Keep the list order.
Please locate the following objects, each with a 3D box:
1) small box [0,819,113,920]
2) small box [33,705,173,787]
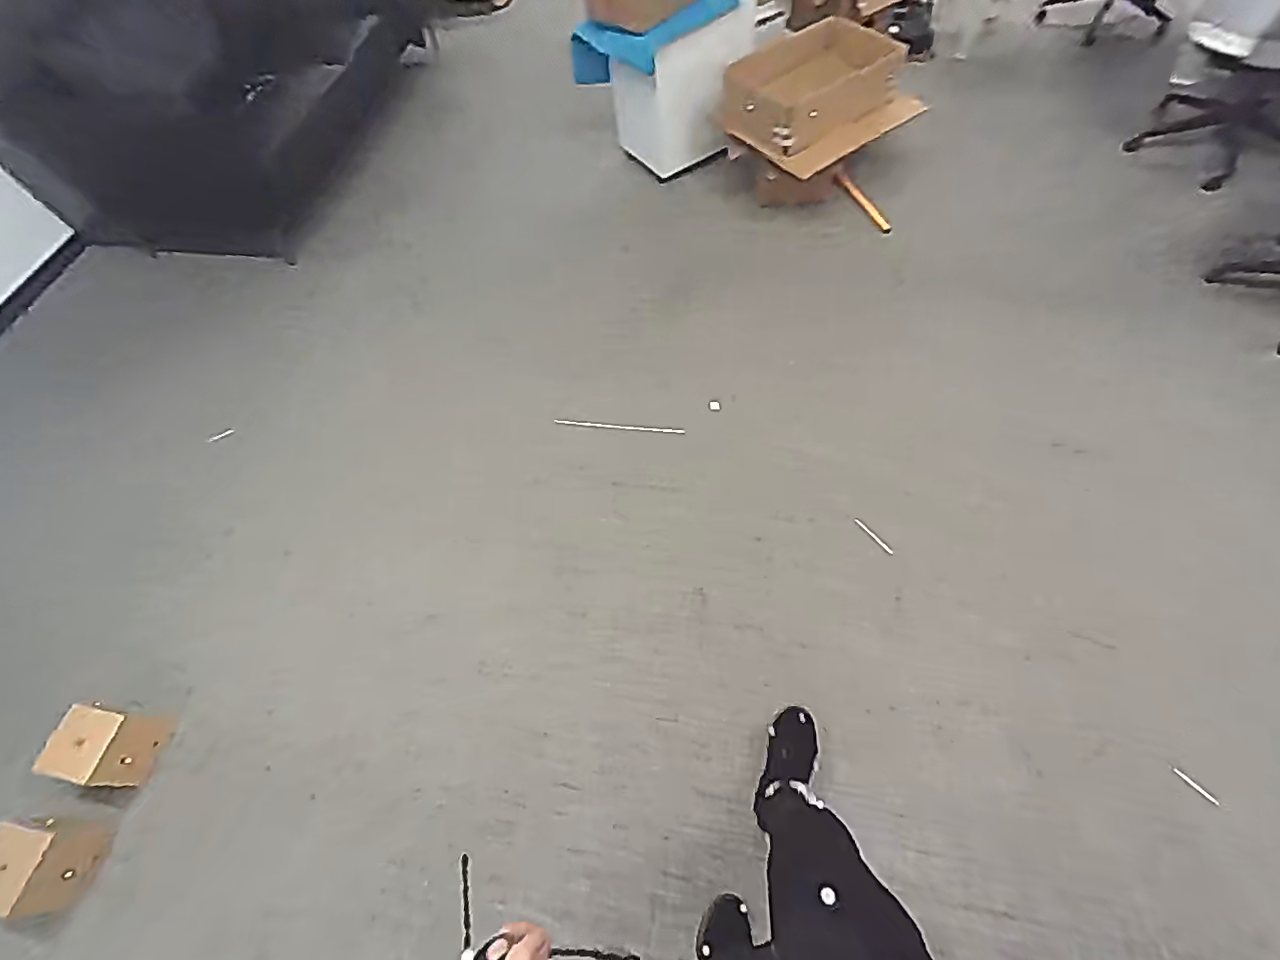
[{"bbox_3d":[-1.490,0.953,1.339,0.179,0.176,0.168,7,60,11],"label":"small box"},{"bbox_3d":[-1.444,0.724,1.470,0.179,0.176,0.168,6,61,11],"label":"small box"}]
